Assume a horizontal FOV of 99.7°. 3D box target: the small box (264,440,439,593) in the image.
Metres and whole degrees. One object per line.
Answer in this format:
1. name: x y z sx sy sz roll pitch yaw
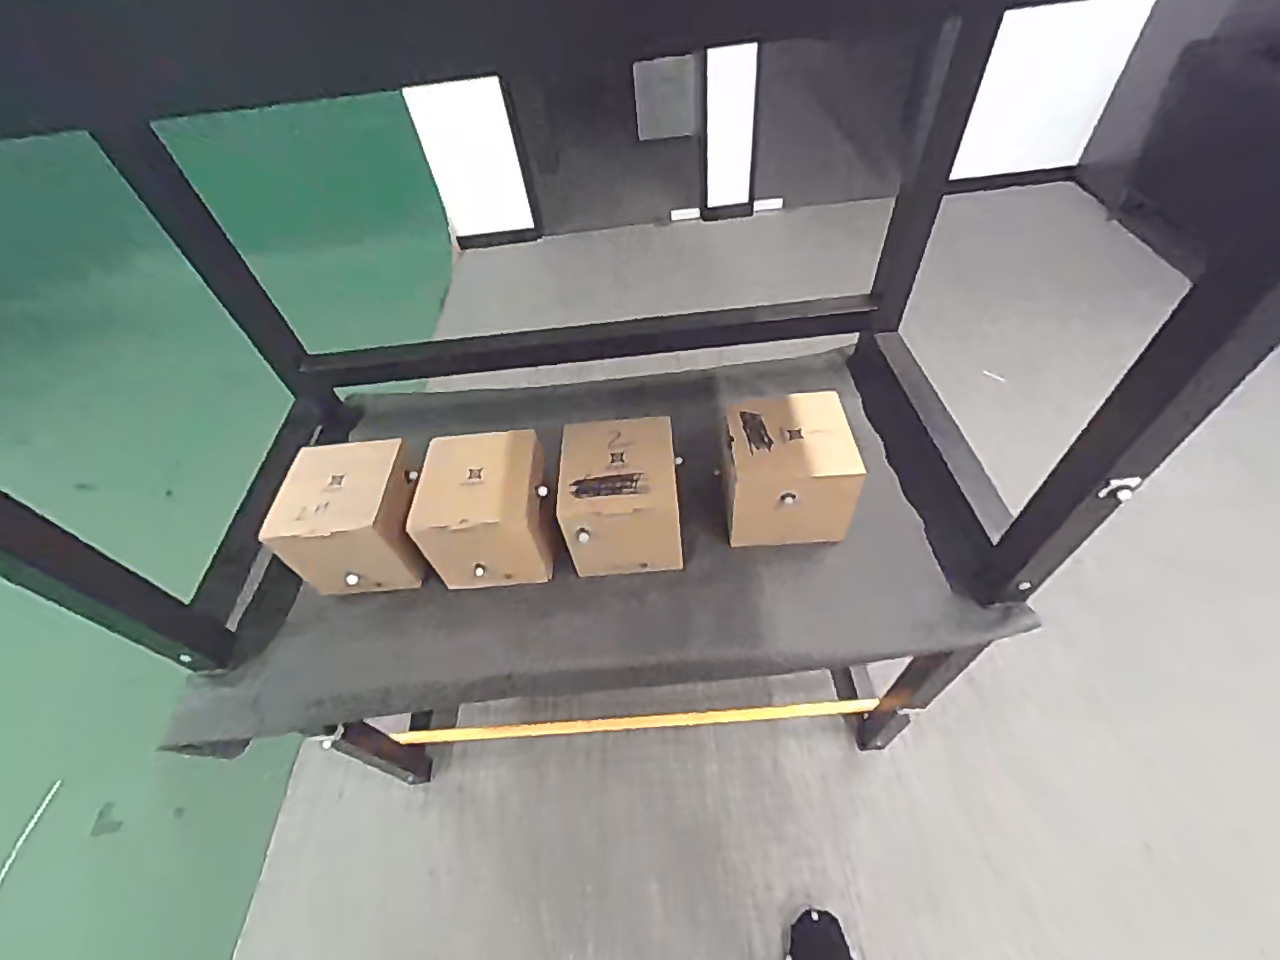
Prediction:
1. small box: -0.438 0.060 0.860 0.168 0.176 0.179 -5 50 2

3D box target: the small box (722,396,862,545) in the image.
1. small box: 0.220 -0.010 0.841 0.179 0.176 0.168 -3 51 3
